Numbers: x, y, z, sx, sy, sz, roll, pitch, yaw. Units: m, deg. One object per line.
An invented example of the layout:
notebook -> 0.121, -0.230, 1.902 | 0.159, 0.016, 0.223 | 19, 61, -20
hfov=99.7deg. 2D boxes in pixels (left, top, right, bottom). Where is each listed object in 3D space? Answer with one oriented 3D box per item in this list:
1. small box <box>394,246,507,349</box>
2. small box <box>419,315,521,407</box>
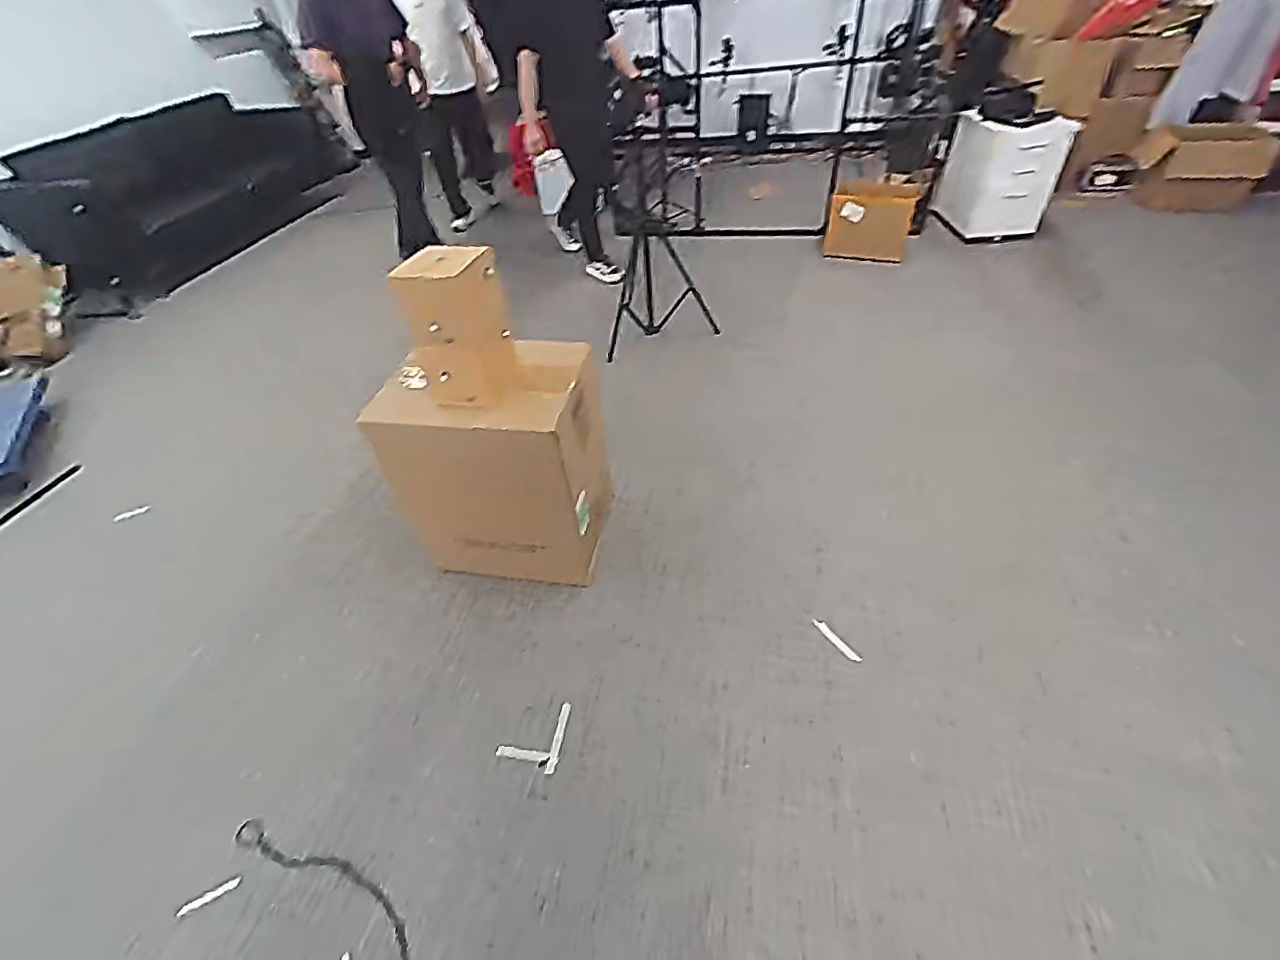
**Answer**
small box -> -0.422, -0.423, 1.247 | 0.168, 0.176, 0.179 | 6, 44, 14
small box -> -0.414, -0.298, 1.355 | 0.168, 0.176, 0.179 | 5, 44, 12
